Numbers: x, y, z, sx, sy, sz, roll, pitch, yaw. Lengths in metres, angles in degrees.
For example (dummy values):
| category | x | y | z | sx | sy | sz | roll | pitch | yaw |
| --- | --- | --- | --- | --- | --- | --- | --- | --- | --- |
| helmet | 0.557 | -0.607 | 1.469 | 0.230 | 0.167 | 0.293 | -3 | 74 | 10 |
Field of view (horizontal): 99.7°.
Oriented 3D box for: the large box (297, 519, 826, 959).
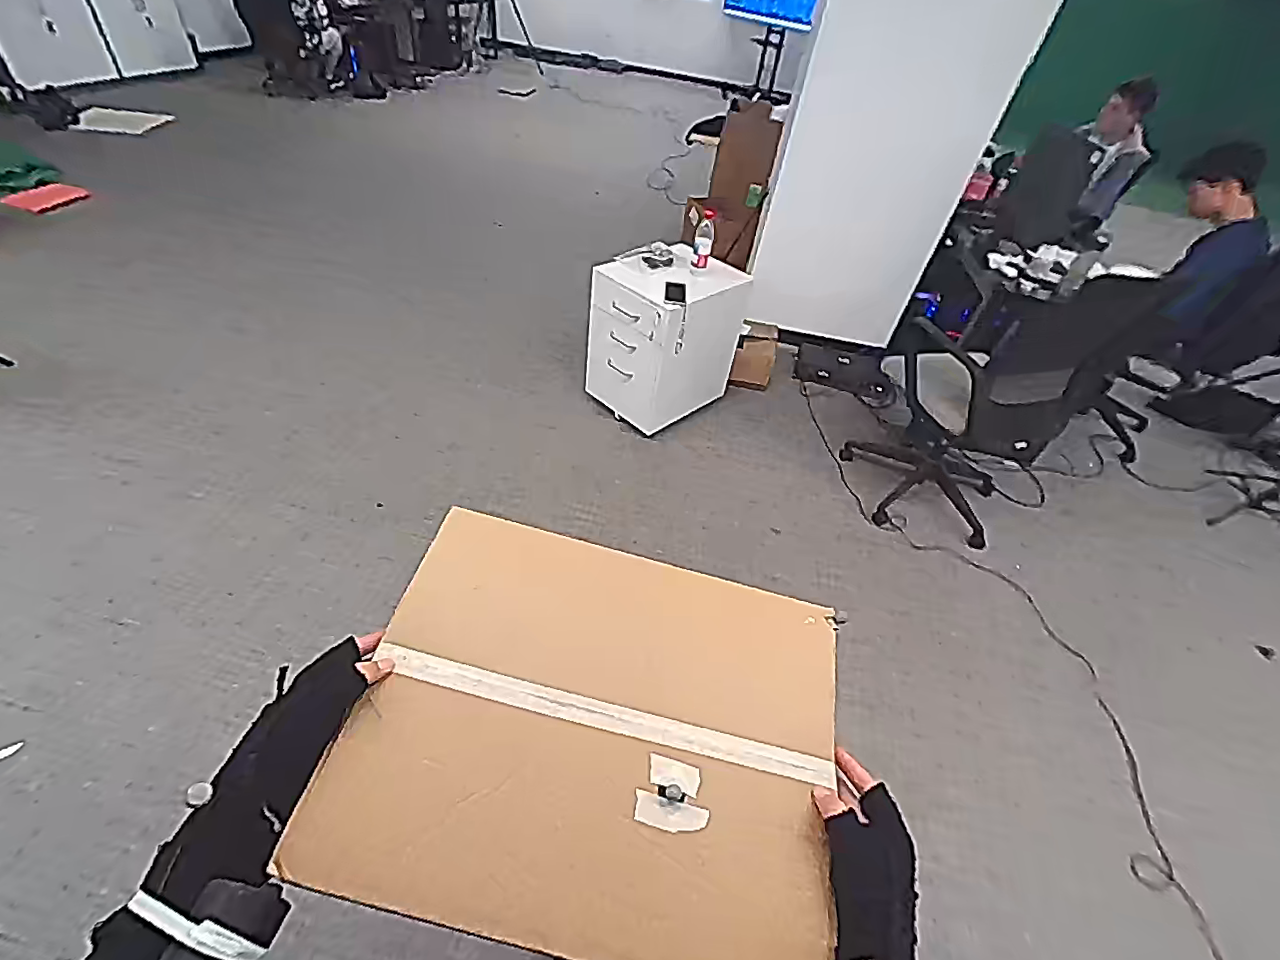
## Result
| category | x | y | z | sx | sy | sz | roll | pitch | yaw |
| --- | --- | --- | --- | --- | --- | --- | --- | --- | --- |
| large box | -0.054 | 0.290 | 0.597 | 0.408 | 0.320 | 0.320 | 15 | 54 | -1 |
